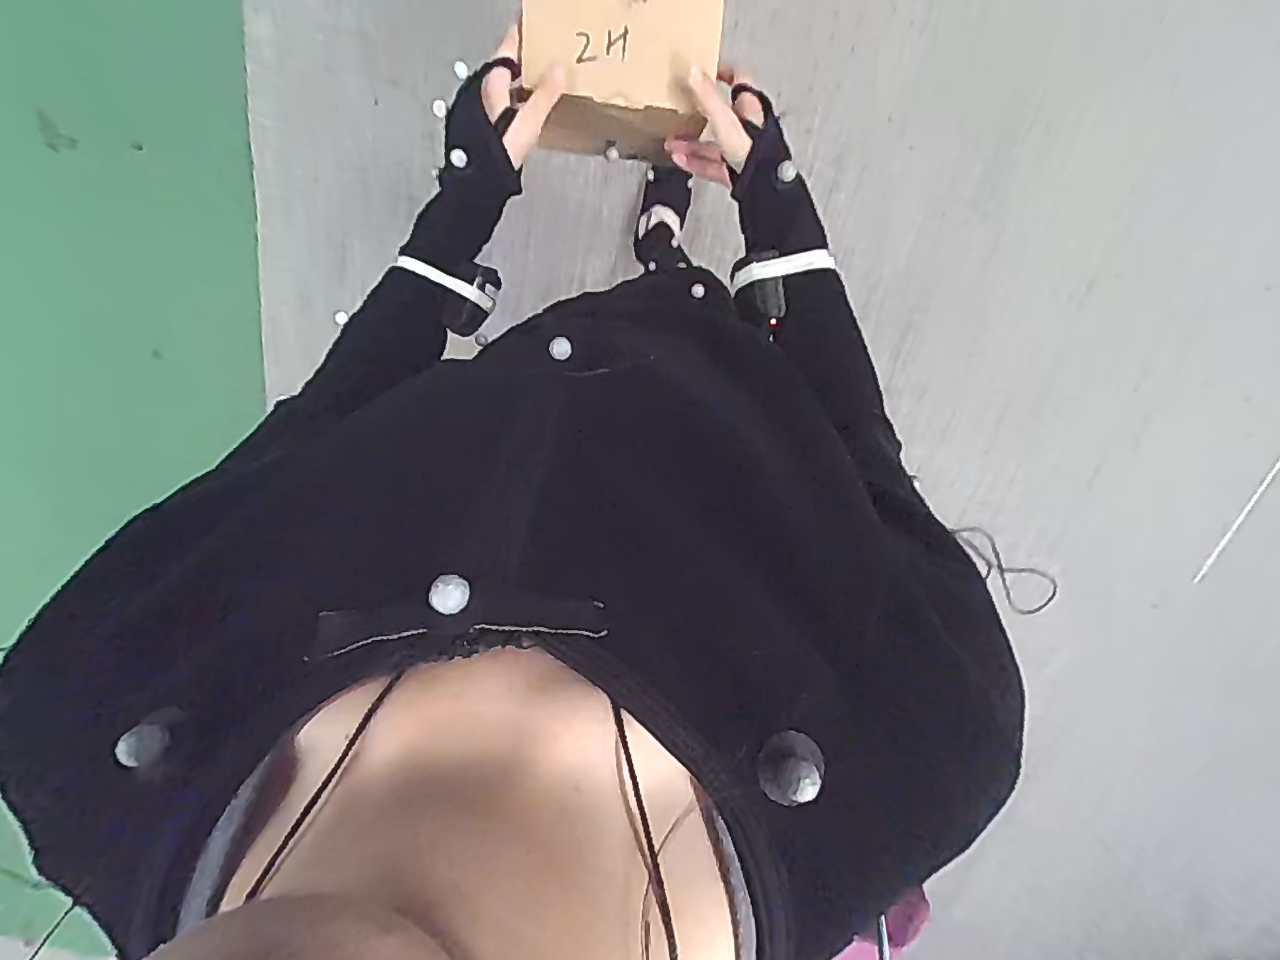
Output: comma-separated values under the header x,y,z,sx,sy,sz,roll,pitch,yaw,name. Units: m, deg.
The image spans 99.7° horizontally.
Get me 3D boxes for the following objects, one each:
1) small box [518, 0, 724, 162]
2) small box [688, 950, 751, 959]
x,y,z,sx,sy,sz,roll,pitch,yaw,name
-0.017,-0.431,0.513,0.168,0.176,0.179,6,106,-6,small box
0.176,1.127,1.127,0.168,0.176,0.179,7,113,0,small box
